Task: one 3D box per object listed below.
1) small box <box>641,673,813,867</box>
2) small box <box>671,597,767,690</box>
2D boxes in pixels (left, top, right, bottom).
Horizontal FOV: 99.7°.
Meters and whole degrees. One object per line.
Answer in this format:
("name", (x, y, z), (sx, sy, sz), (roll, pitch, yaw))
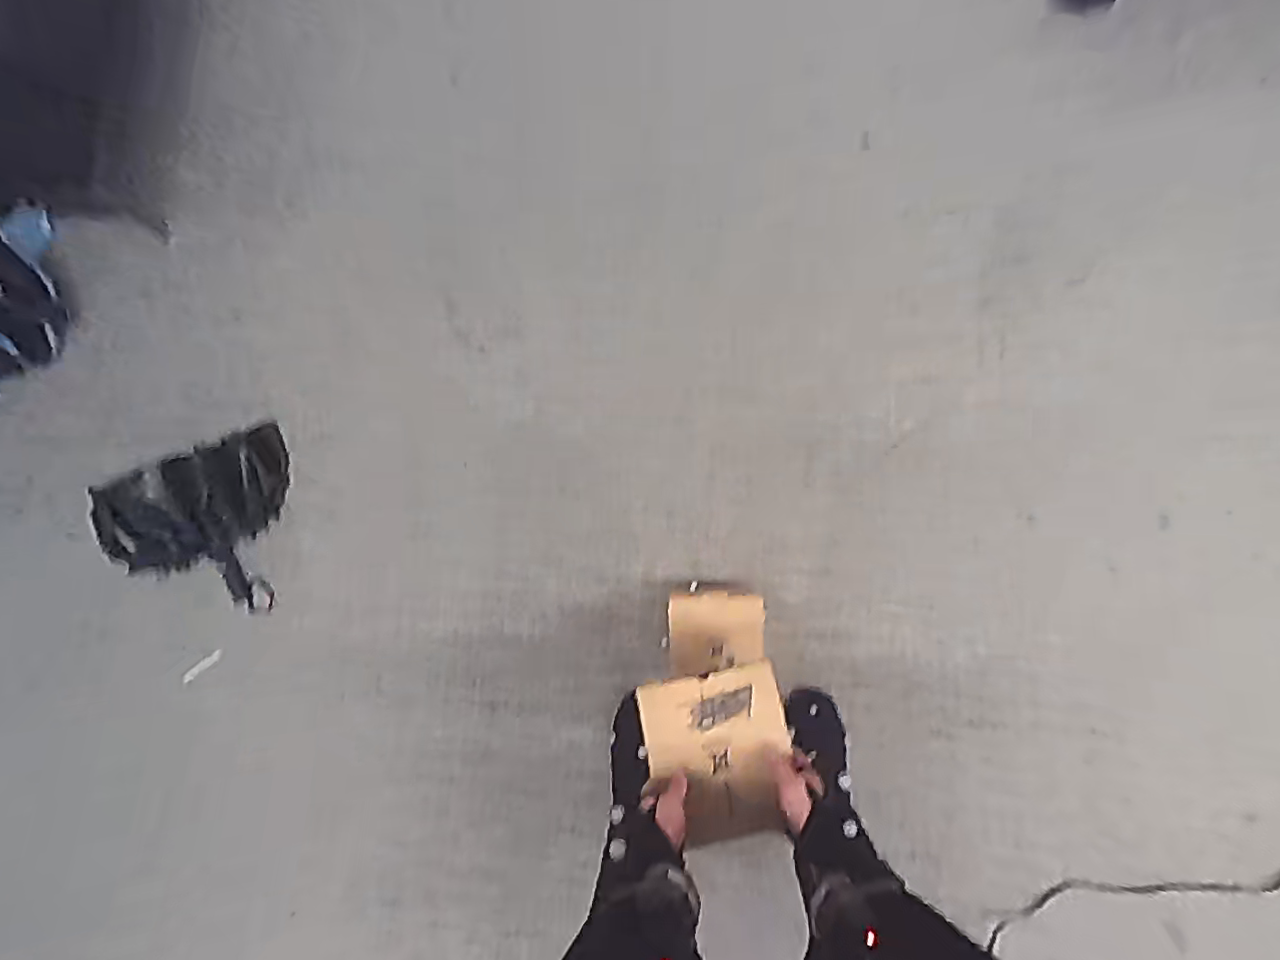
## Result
("small box", (0.097, 0.352, 0.686), (0.168, 0.176, 0.179), (-11, 70, 0))
("small box", (0.142, 0.314, 1.011), (0.168, 0.176, 0.179), (-2, 85, 5))
